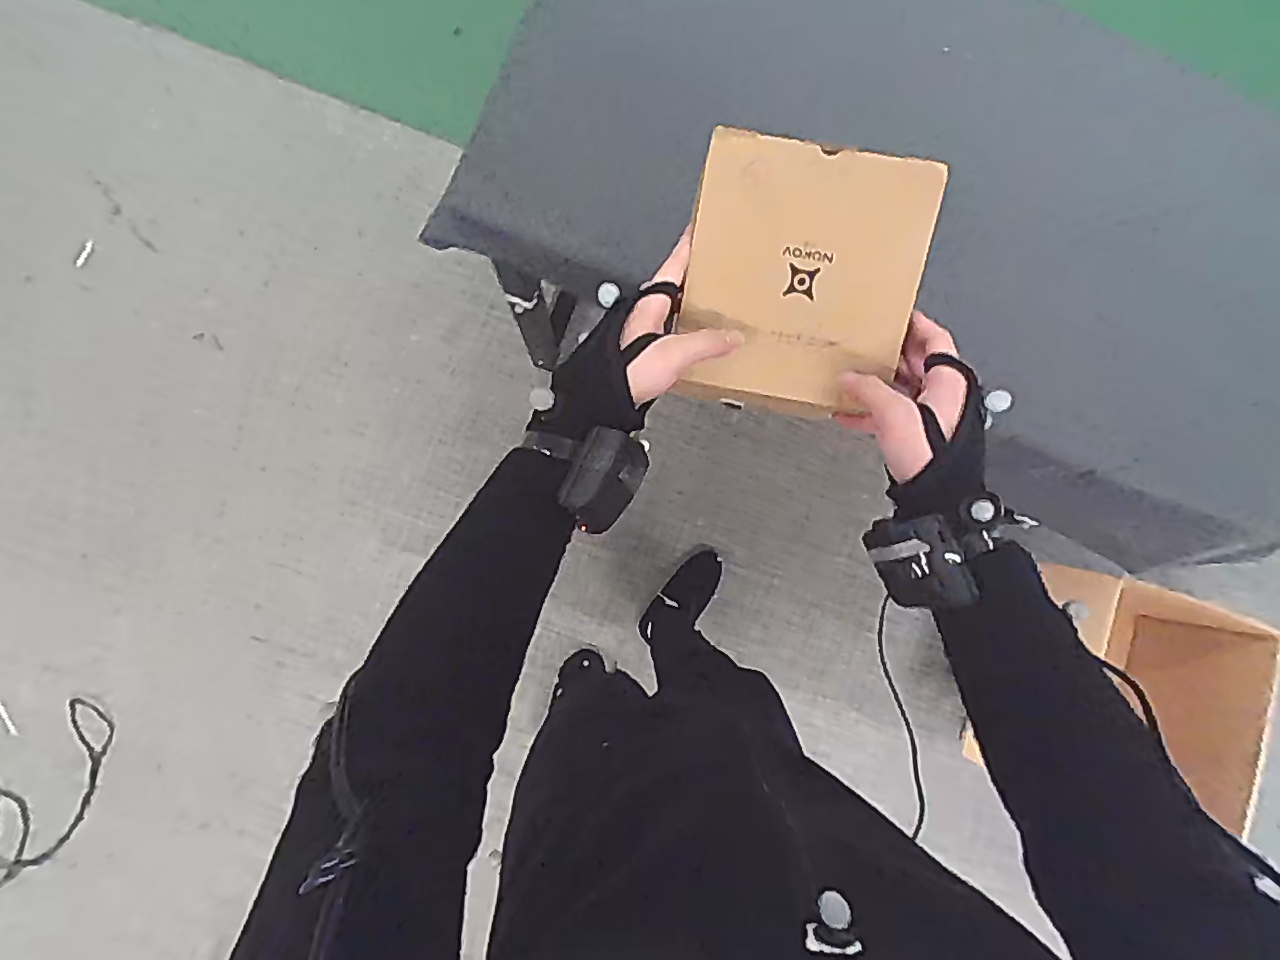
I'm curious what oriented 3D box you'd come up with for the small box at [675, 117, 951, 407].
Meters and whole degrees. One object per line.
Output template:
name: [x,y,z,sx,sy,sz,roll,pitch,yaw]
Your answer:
small box: [0.126,-0.164,0.465,0.168,0.176,0.179,10,96,0]
